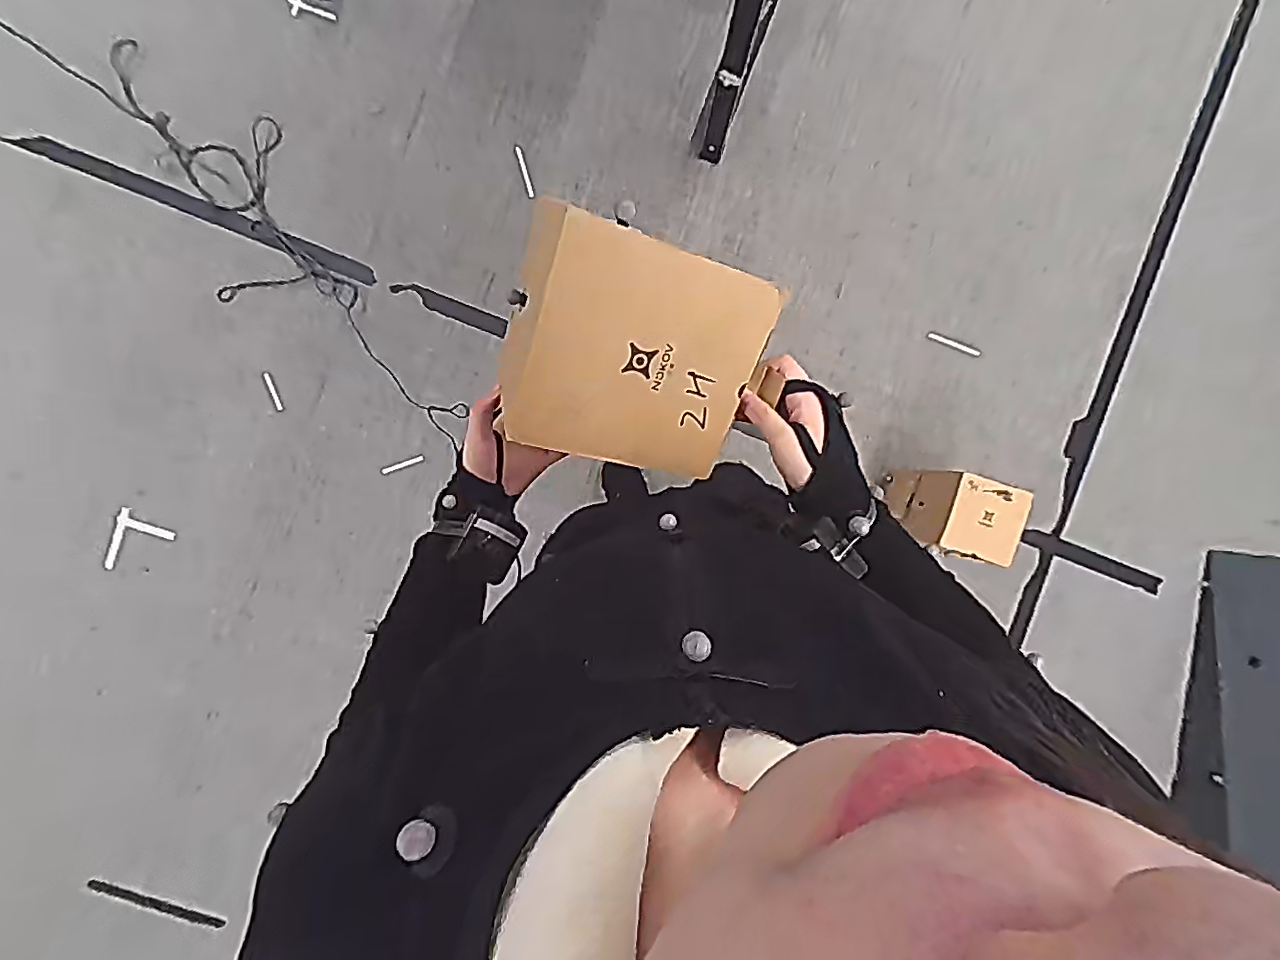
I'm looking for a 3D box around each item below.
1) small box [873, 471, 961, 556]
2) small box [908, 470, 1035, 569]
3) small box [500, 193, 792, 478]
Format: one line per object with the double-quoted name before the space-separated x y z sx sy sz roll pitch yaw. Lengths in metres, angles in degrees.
"small box" 0.748 0.083 1.419 0.179 0.176 0.168 23 92 -2
"small box" 0.755 0.085 1.255 0.168 0.176 0.179 18 92 -2
"small box" -0.014 -0.124 0.457 0.179 0.176 0.168 11 114 -23
